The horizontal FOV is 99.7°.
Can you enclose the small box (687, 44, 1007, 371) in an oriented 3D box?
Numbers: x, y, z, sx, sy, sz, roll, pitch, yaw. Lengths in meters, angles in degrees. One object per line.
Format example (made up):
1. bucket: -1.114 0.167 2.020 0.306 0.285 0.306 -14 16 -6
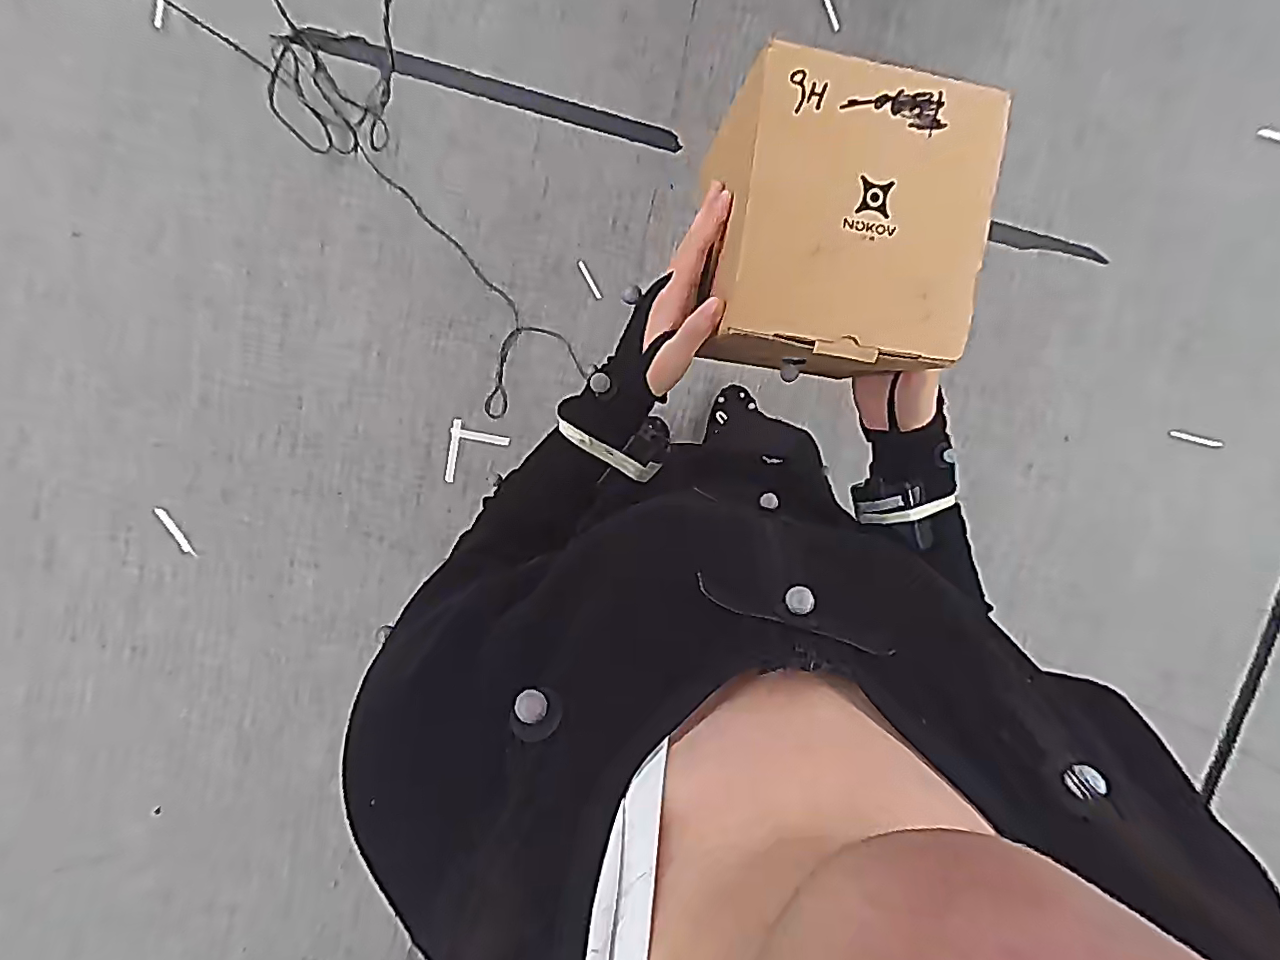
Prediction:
1. small box: 0.140 -0.186 0.432 0.168 0.176 0.179 6 97 -8
